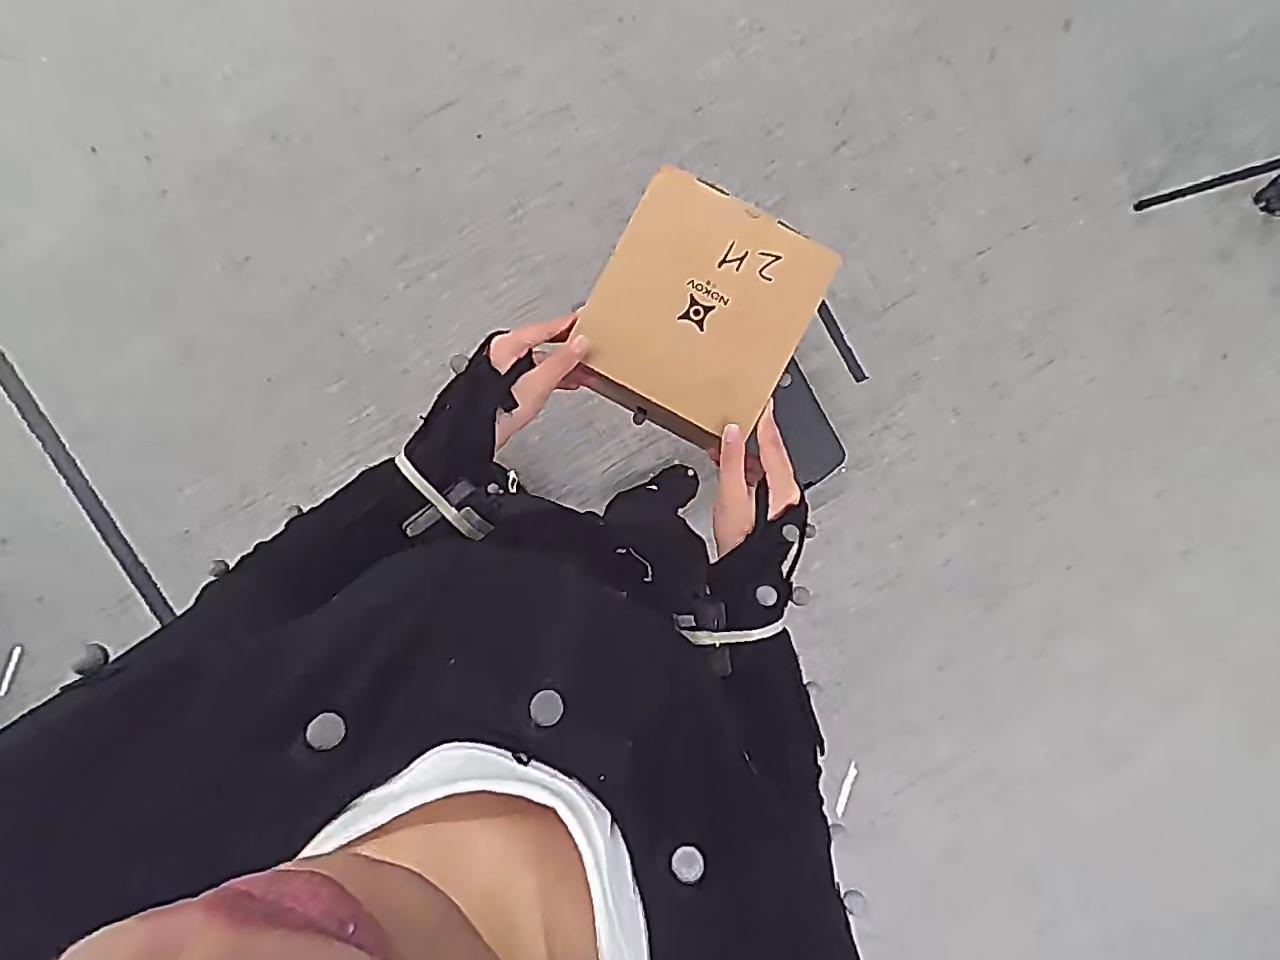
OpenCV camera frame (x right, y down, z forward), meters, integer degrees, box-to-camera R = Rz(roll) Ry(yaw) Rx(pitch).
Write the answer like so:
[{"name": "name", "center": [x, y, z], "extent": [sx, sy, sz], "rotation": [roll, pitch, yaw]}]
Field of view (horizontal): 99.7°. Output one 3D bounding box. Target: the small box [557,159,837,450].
[{"name": "small box", "center": [0.045, -0.139, 0.504], "extent": [0.168, 0.176, 0.179], "rotation": [28, 90, -1]}]
